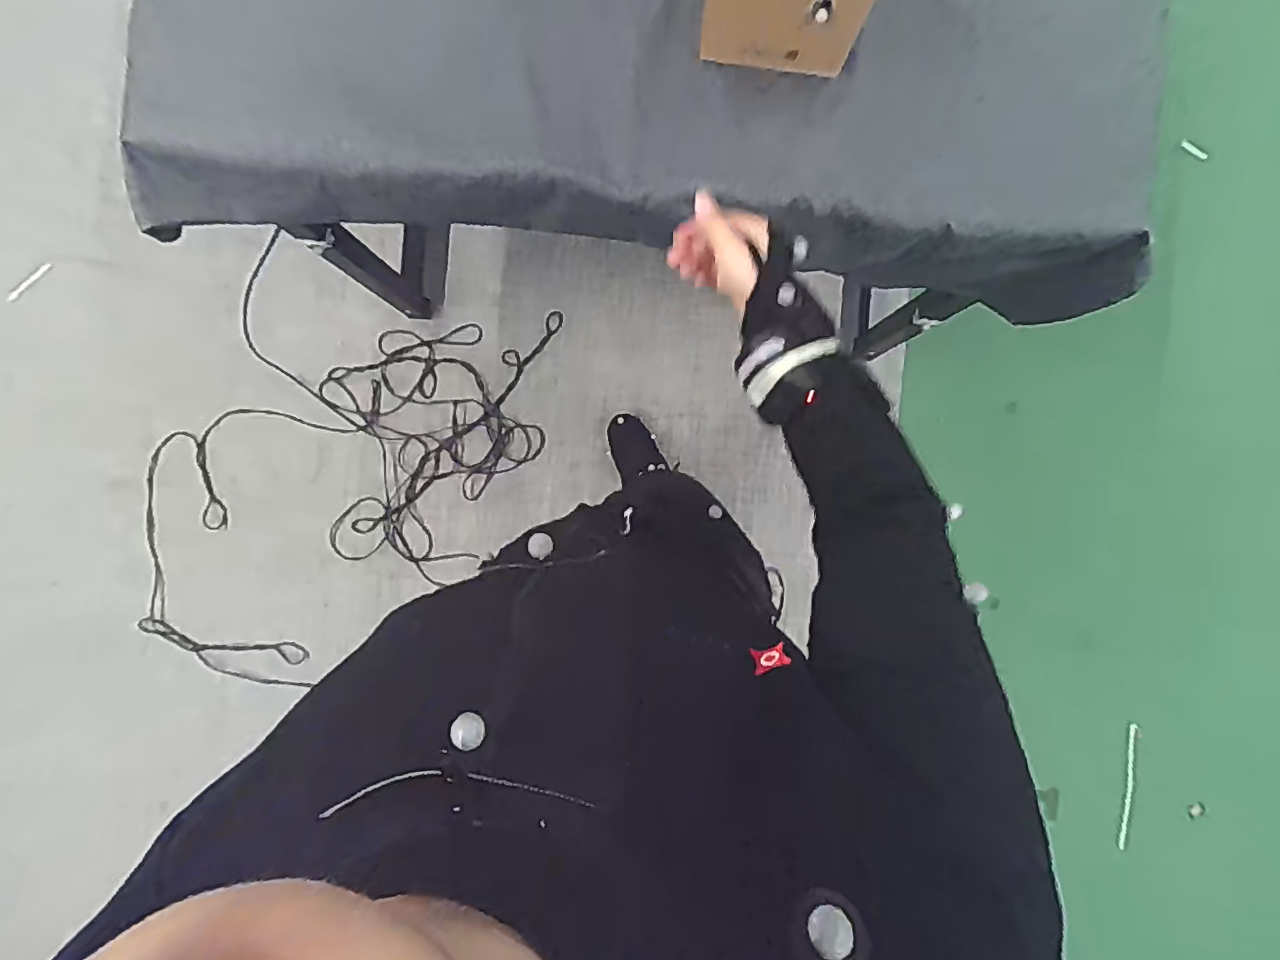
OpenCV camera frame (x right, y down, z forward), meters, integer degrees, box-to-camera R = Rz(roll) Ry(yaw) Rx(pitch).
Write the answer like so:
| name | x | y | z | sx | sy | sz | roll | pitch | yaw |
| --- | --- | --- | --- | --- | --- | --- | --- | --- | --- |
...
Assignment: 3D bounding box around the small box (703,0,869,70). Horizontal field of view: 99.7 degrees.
| name | x | y | z | sx | sy | sz | roll | pitch | yaw |
| --- | --- | --- | --- | --- | --- | --- | --- | --- | --- |
| small box | 0.162 | -0.567 | 0.549 | 0.168 | 0.176 | 0.179 | 8 | 89 | -1 |
